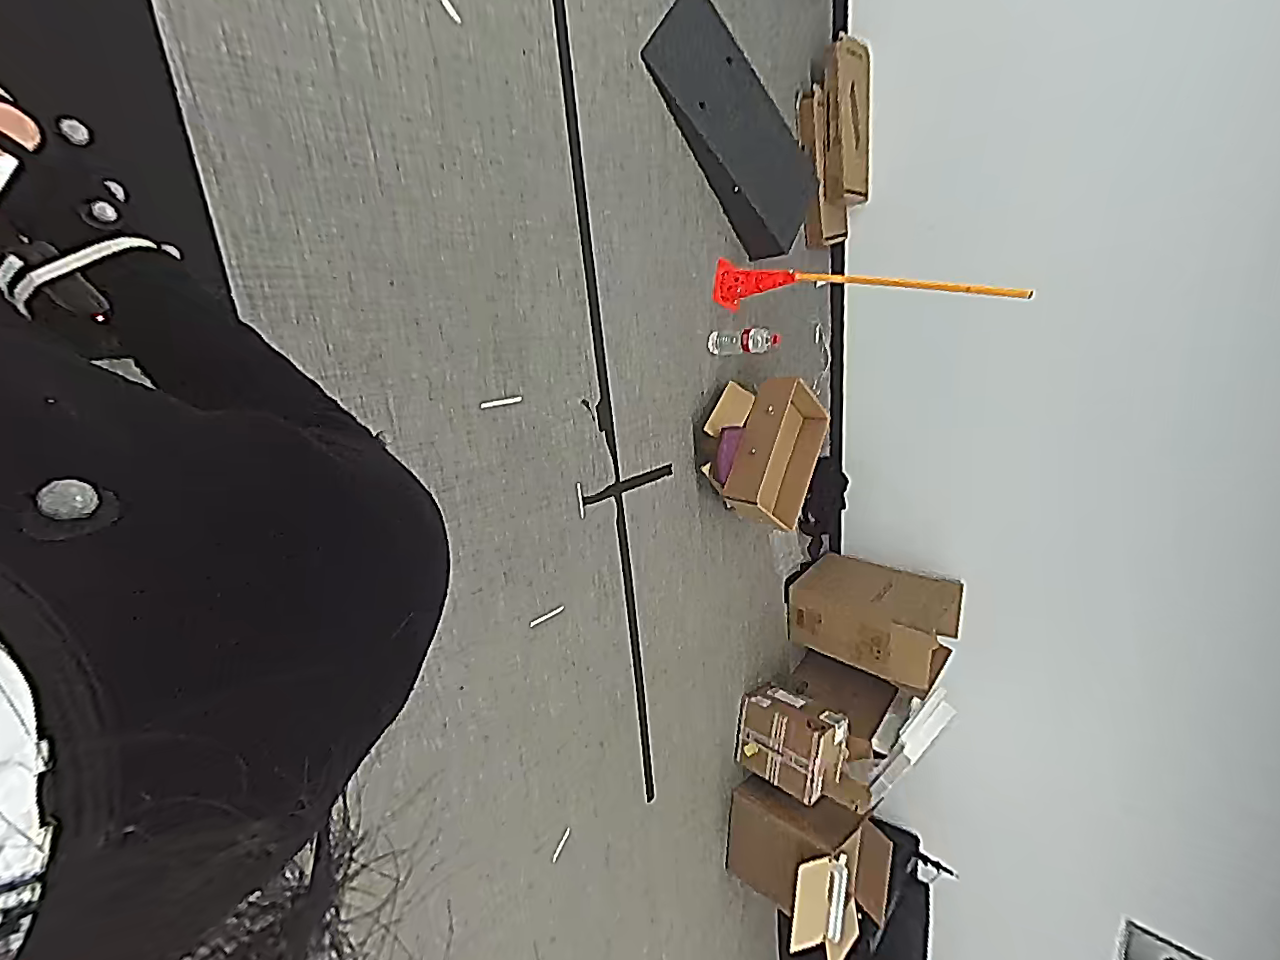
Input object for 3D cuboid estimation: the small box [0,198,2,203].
[{"bbox_3d":[-0.576,-0.279,0.350,0.179,0.176,0.168,-22,113,-44],"label":"small box"}]
